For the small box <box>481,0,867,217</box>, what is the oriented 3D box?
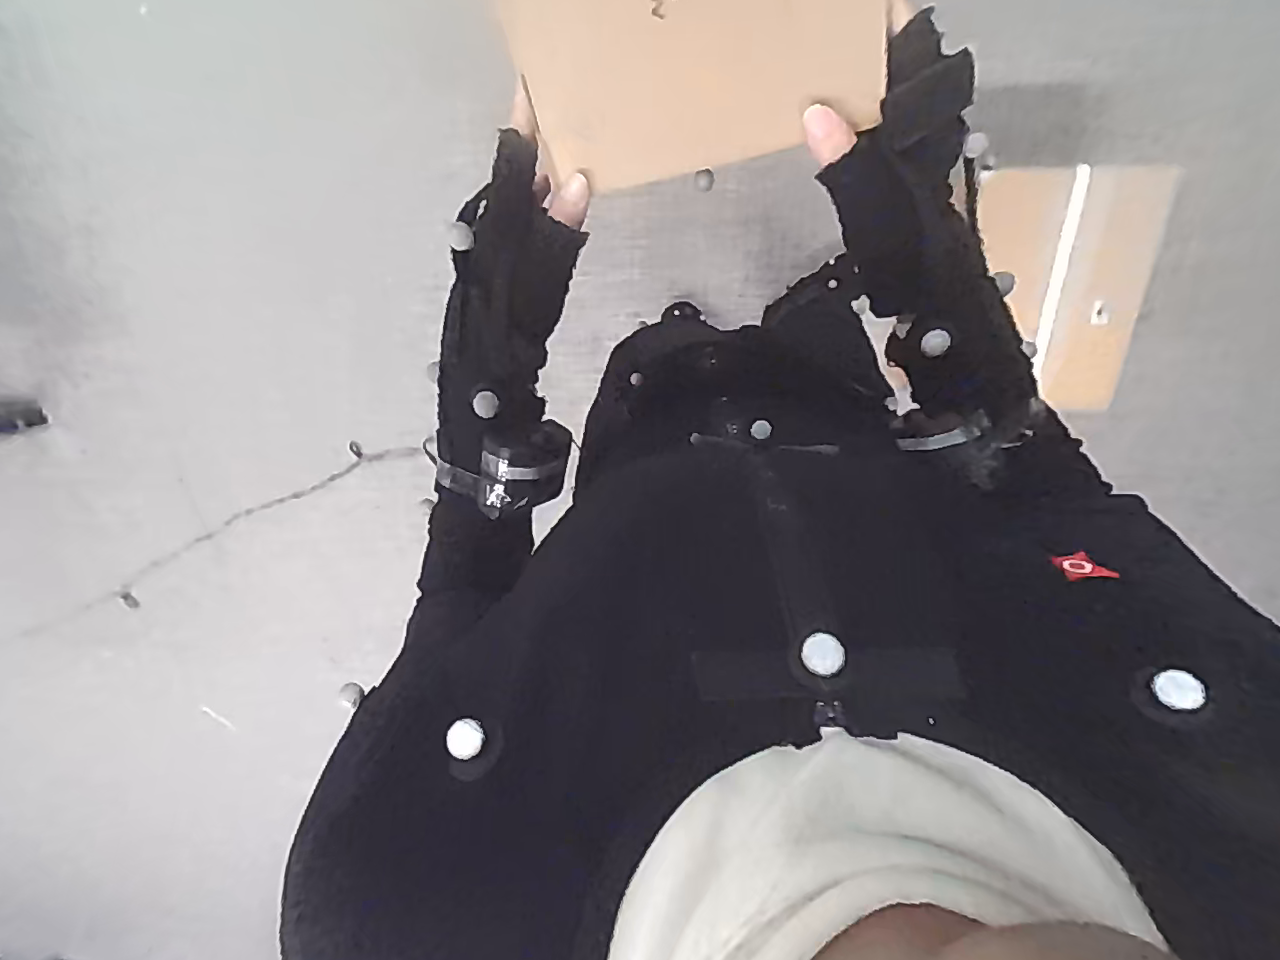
[{"bbox_3d":[0.017,-0.272,0.313,0.179,0.176,0.168,-11,124,10],"label":"small box"}]
